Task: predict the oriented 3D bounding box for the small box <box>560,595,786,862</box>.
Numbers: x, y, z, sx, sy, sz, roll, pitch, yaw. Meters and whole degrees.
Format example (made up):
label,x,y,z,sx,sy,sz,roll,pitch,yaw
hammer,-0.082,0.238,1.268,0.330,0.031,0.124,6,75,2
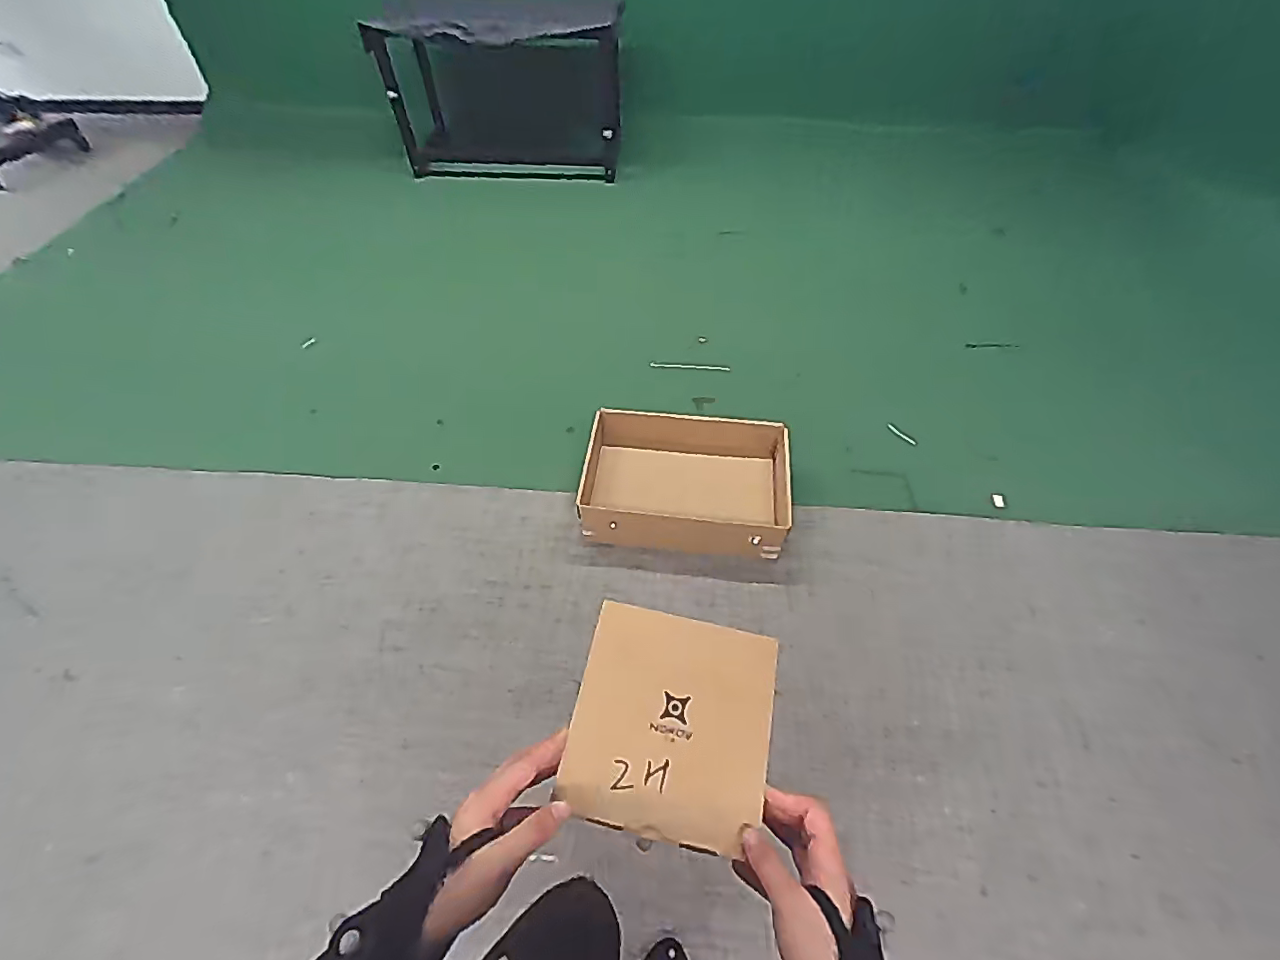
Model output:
label,x,y,z,sx,sy,sz,roll,pitch,yaw
small box,0.031,0.237,0.523,0.168,0.176,0.179,12,60,5
